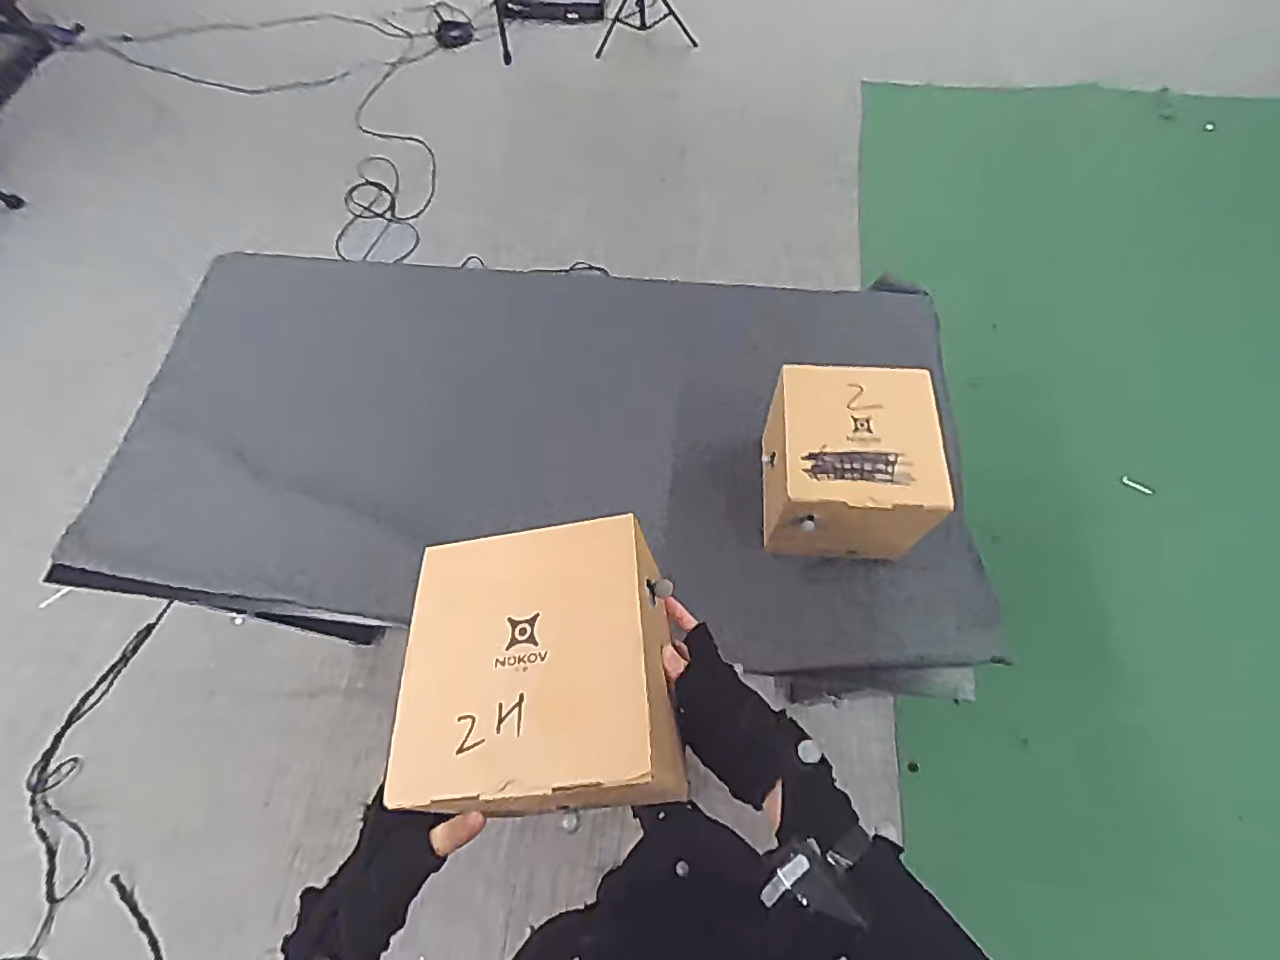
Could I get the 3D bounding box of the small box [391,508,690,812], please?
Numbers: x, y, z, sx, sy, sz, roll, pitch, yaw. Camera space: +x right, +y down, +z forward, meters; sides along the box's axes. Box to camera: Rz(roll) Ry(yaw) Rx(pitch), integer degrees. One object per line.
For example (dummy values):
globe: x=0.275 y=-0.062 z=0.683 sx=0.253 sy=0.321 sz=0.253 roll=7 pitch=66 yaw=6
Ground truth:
small box: x=-0.059 y=0.147 z=0.423 sx=0.168 sy=0.176 sz=0.179 roll=-10 pitch=55 yaw=7
